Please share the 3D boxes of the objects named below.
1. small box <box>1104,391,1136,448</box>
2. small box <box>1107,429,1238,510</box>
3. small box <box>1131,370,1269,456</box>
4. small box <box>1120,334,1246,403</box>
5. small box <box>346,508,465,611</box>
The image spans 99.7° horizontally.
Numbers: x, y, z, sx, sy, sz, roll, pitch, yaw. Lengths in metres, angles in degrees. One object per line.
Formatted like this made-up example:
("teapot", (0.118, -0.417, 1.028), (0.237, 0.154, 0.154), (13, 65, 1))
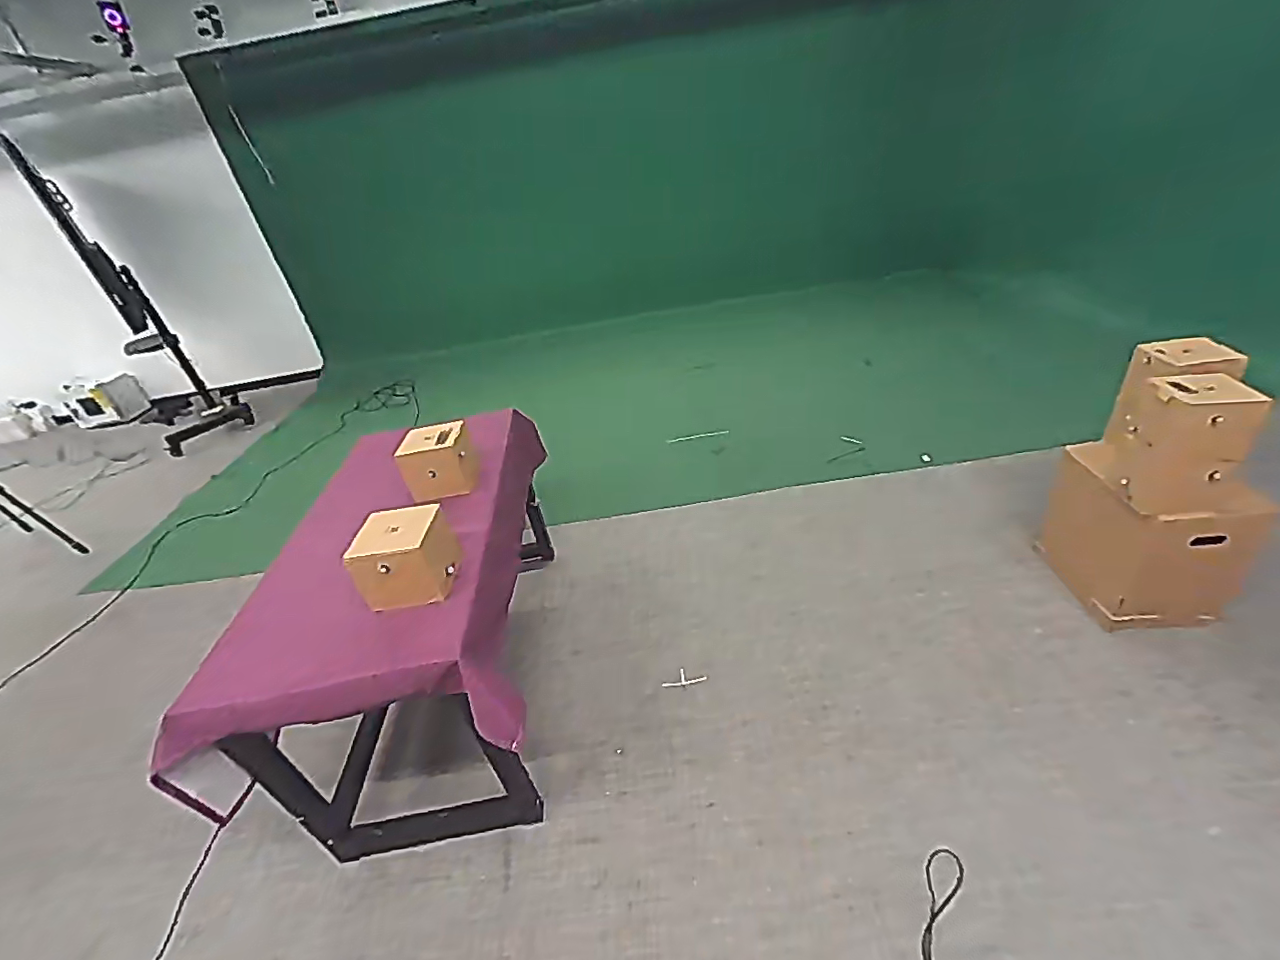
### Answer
("small box", (1.590, -0.172, 1.660), (0.168, 0.176, 0.179), (-7, 33, 7))
("small box", (1.452, -0.034, 1.490), (0.179, 0.176, 0.168), (-5, 33, 8))
("small box", (1.430, -0.172, 1.402), (0.179, 0.176, 0.168), (-1, 34, 10))
("small box", (1.560, -0.306, 1.568), (0.179, 0.176, 0.168), (-5, 33, 9))
("small box", (-0.540, 0.191, 1.271), (0.179, 0.176, 0.168), (-8, 33, 4))
